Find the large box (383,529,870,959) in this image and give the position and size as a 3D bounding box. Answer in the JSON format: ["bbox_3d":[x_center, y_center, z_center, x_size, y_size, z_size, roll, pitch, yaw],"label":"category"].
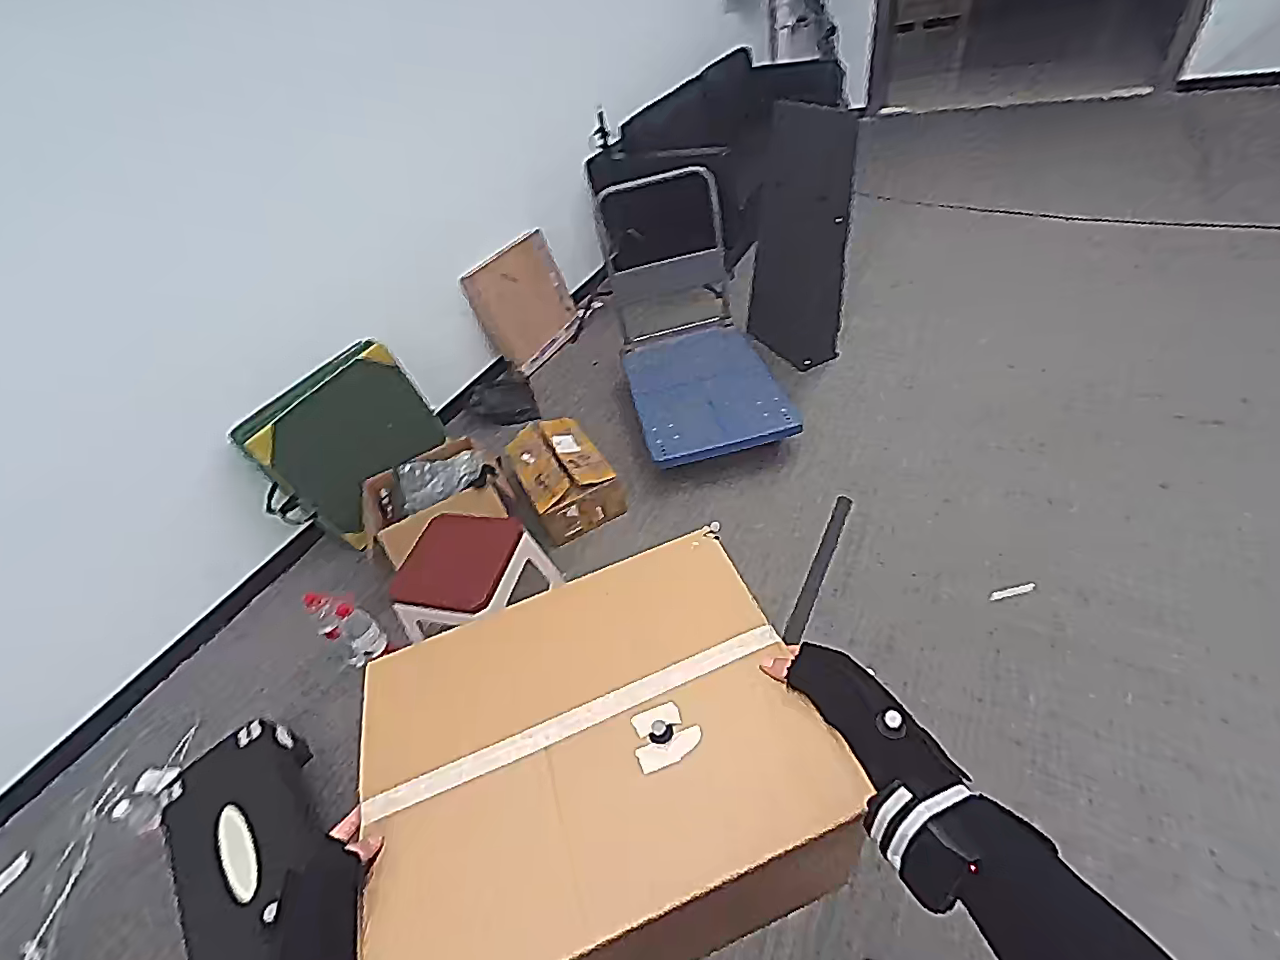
[{"bbox_3d":[-0.020,0.325,0.611,0.408,0.320,0.320,-20,44,-7],"label":"large box"}]
